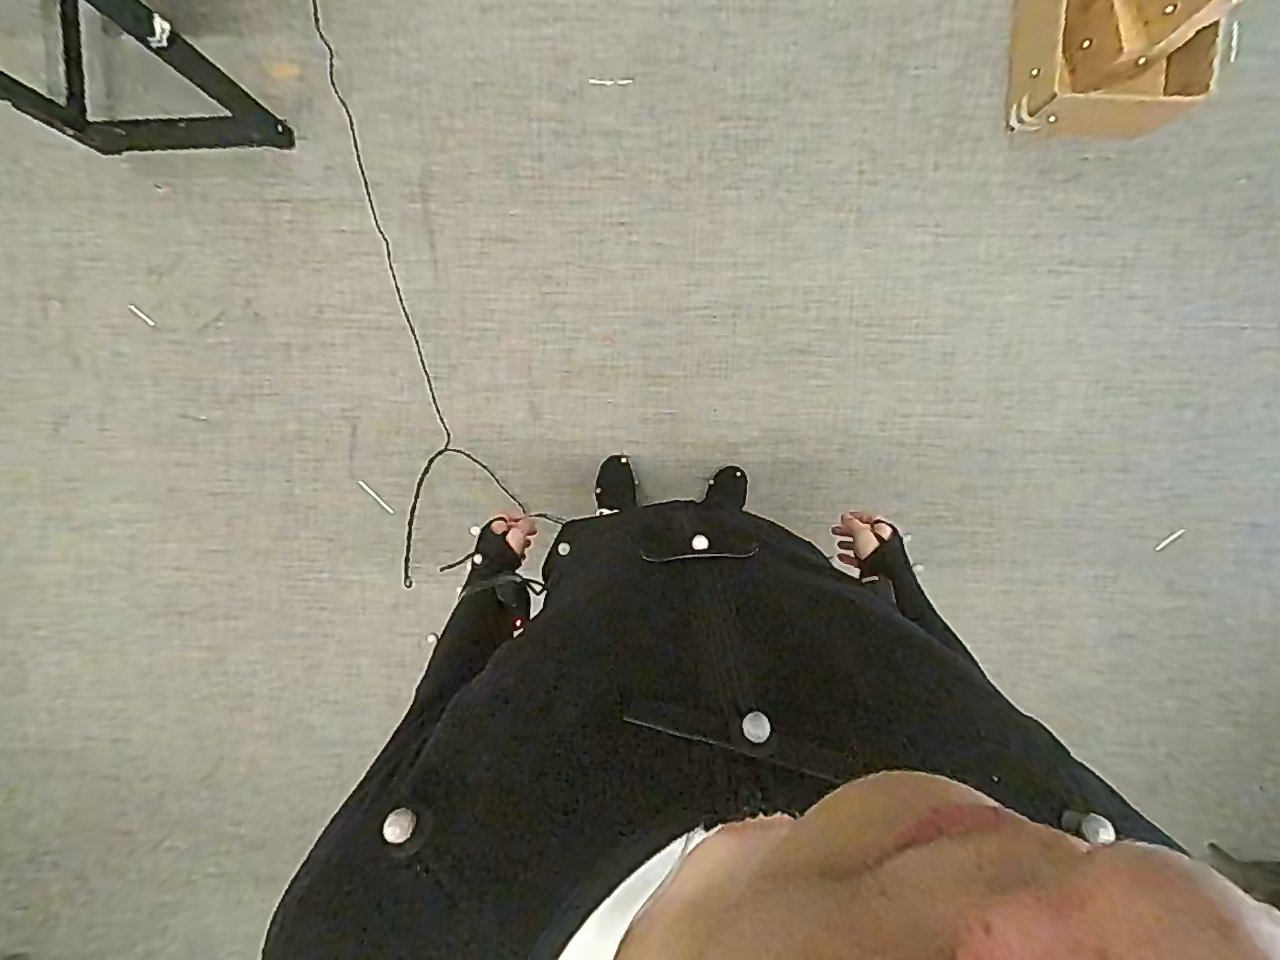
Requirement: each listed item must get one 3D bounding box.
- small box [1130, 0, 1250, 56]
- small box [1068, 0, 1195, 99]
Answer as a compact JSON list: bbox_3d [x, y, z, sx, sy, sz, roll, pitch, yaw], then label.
[{"bbox_3d":[1.279,-1.127,1.232,0.179,0.176,0.168,-24,93,2],"label":"small box"},{"bbox_3d":[1.252,-1.129,1.395,0.179,0.176,0.168,-14,93,2],"label":"small box"}]
